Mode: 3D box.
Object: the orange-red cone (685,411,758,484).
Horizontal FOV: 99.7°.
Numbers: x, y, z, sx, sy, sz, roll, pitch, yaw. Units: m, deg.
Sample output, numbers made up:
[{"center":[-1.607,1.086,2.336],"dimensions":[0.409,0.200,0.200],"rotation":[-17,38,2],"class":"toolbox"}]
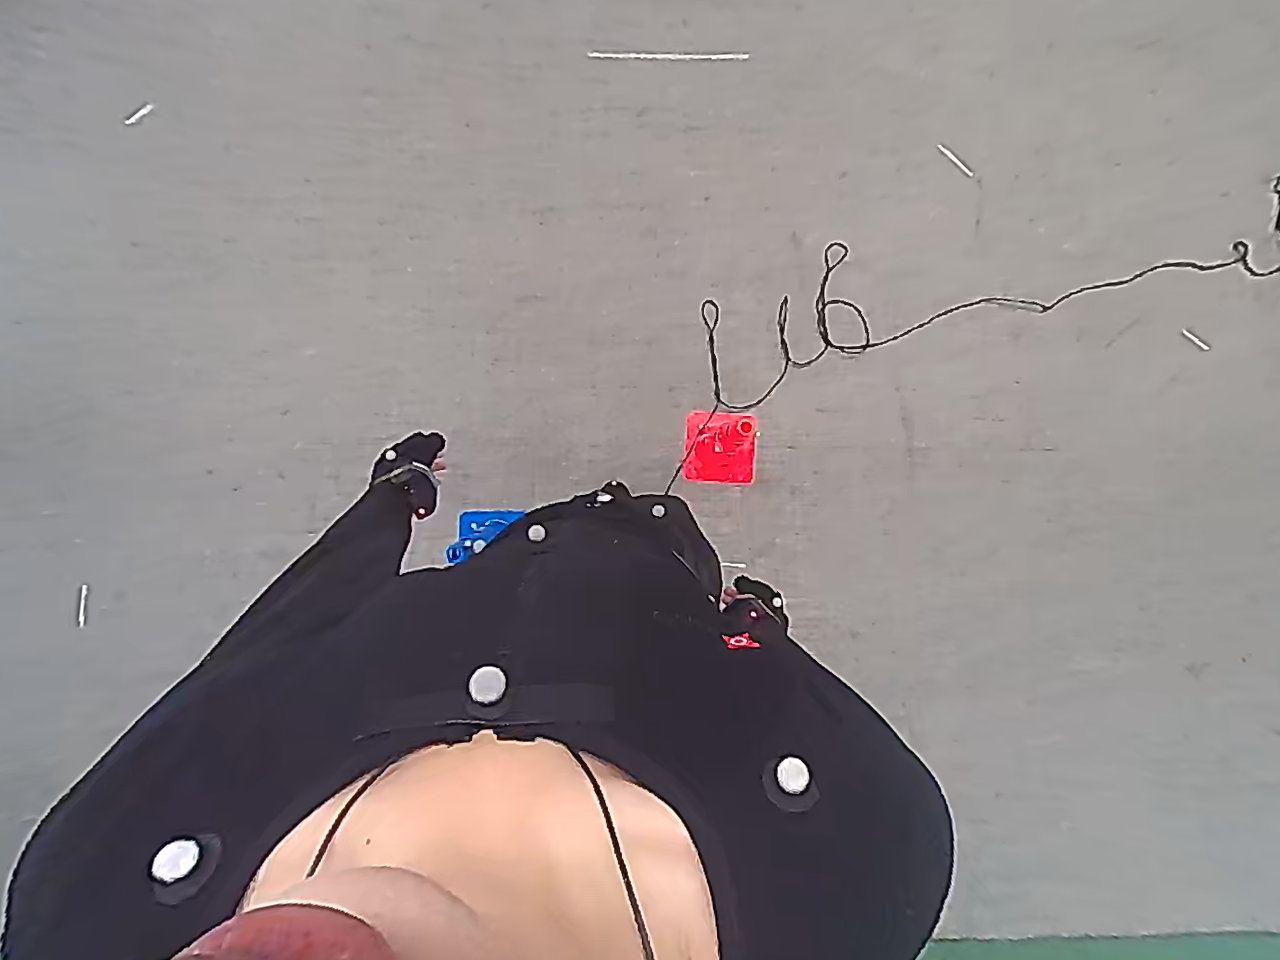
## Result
[{"center":[0.232,-0.102,1.356],"dimensions":[0.198,0.360,0.199],"rotation":[5,87,0],"class":"orange-red cone"}]
